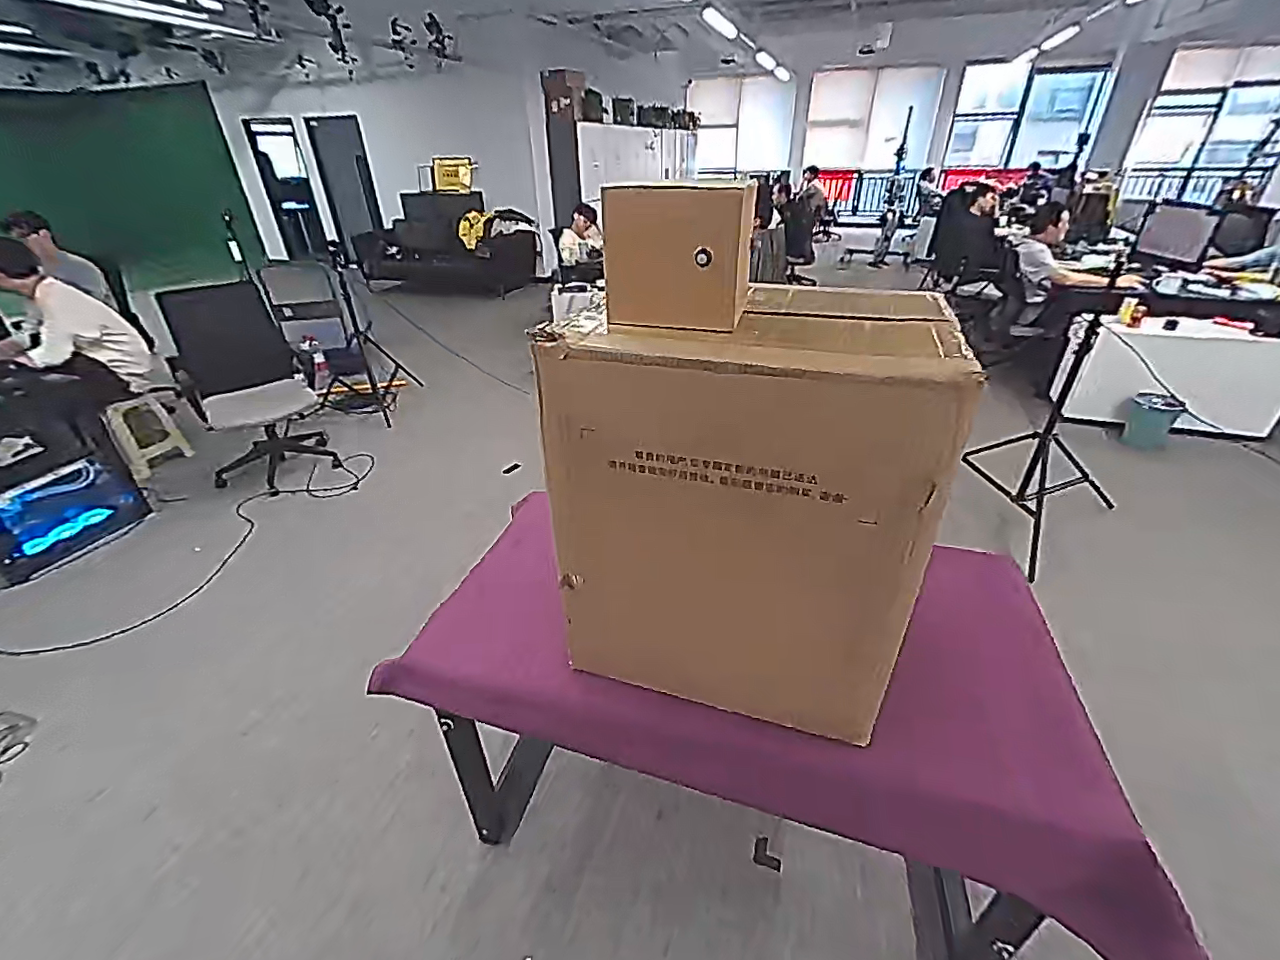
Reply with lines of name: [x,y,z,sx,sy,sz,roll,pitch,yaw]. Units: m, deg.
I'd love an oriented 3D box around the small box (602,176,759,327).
small box: [0.059,-0.312,0.736,0.179,0.176,0.168,7,31,13]
